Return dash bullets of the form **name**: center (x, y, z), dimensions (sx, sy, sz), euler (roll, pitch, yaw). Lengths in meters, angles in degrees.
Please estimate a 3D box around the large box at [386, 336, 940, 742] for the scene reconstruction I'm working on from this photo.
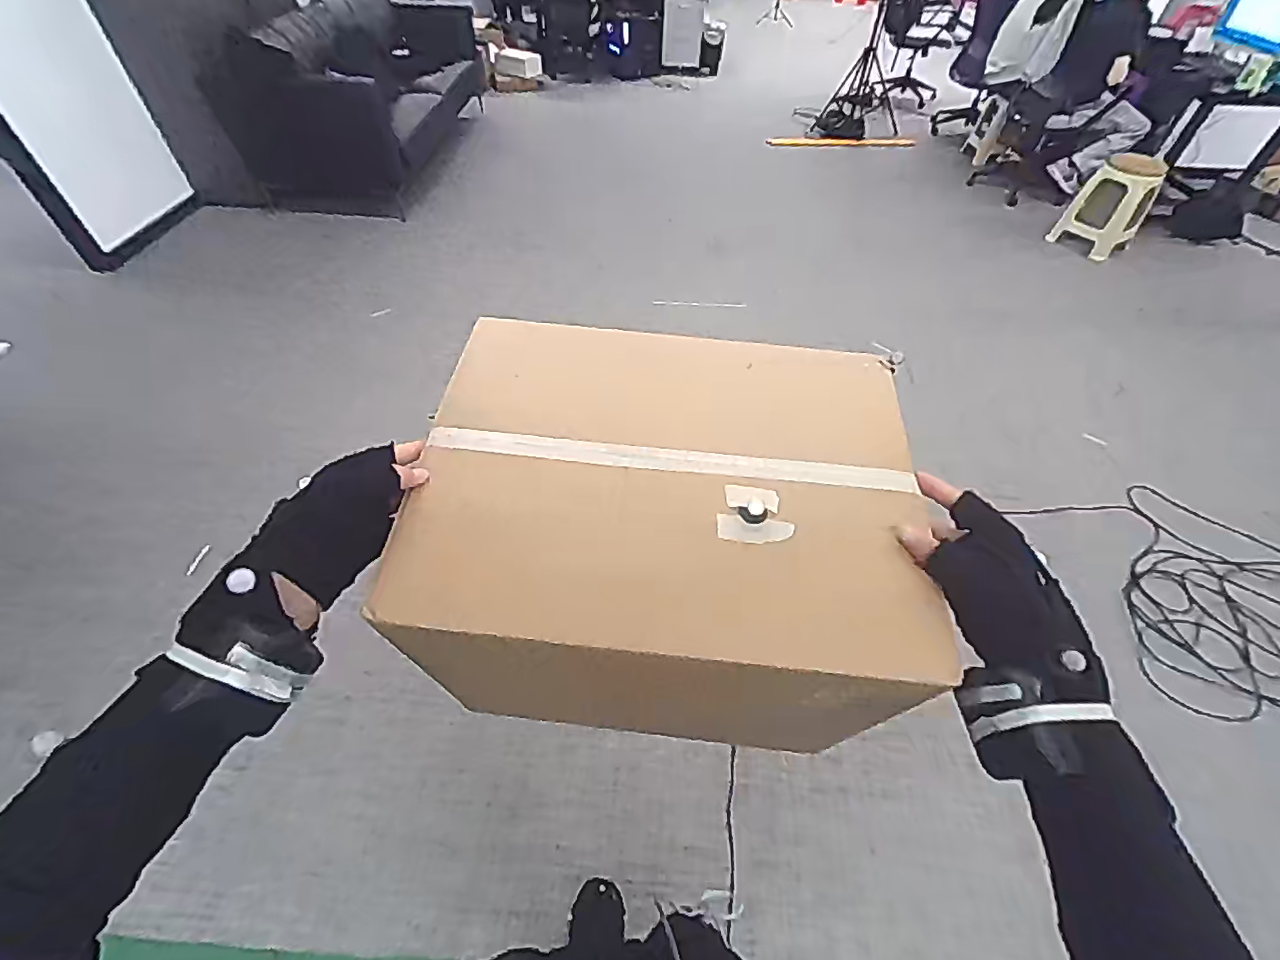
- **large box**: center (0.020, 0.077, 0.585), dimensions (0.408, 0.320, 0.320), euler (5, 56, 2)
